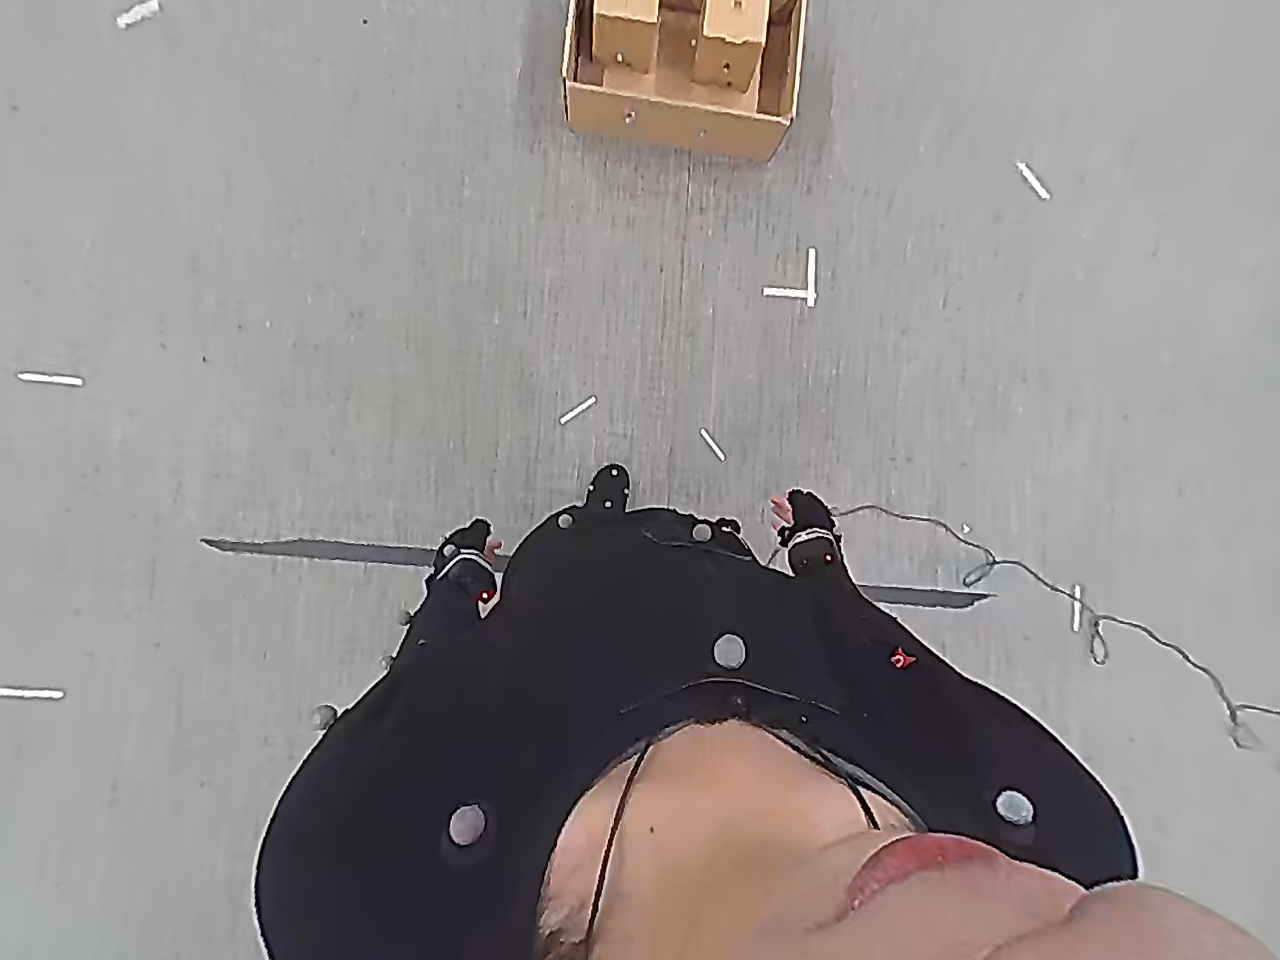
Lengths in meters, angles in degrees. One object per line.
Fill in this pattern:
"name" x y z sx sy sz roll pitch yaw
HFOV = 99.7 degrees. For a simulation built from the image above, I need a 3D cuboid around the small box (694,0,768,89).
"small box" 0.244 -1.213 1.470 0.168 0.176 0.179 7 89 -2
